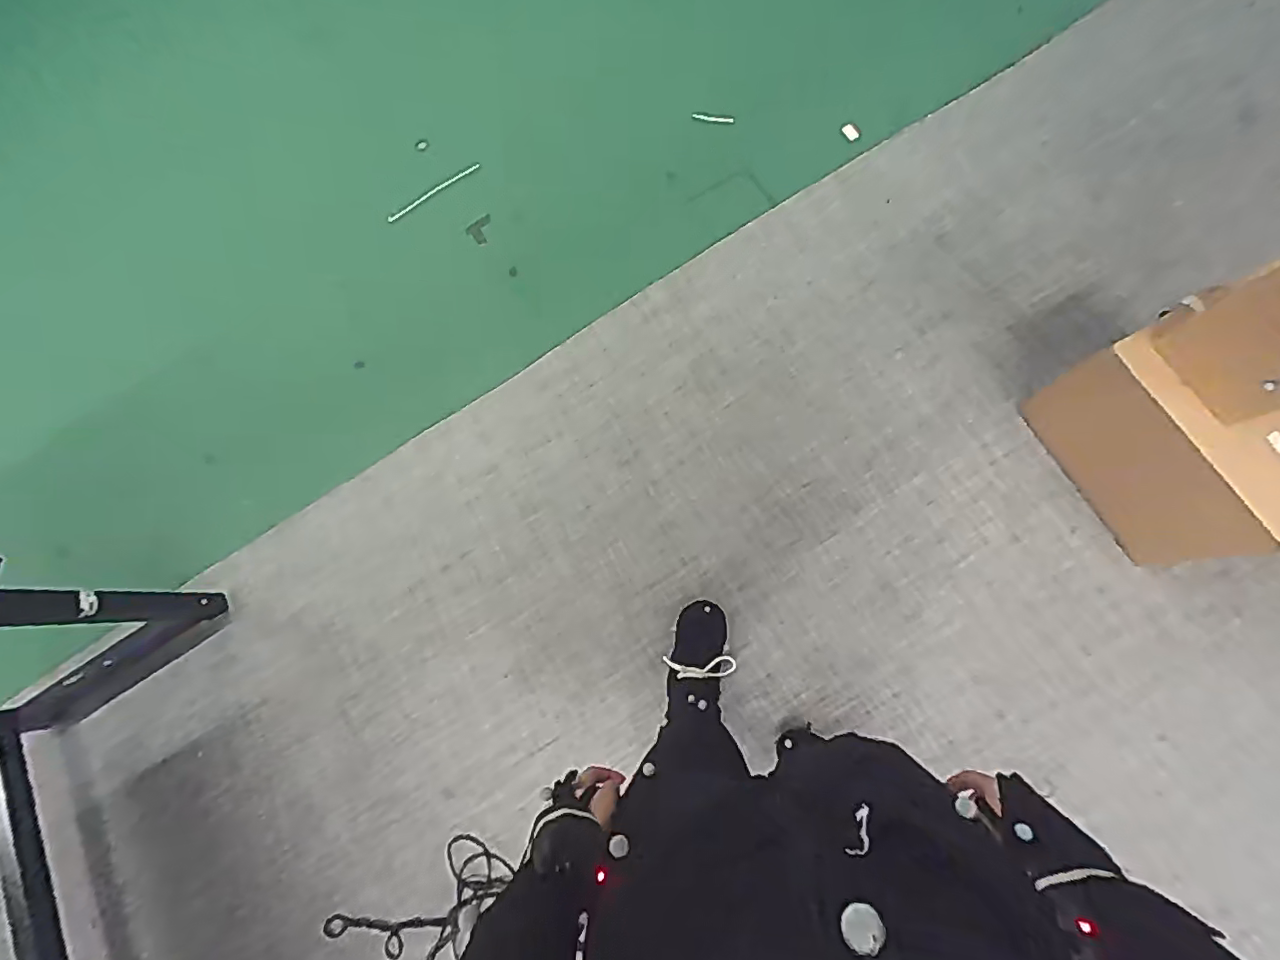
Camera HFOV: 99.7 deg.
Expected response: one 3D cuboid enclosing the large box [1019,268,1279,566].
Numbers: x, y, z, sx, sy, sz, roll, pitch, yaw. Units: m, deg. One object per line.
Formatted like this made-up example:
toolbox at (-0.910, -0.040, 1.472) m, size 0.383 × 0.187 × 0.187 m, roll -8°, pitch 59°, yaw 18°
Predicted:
large box at (1.040, -0.091, 1.008) m, size 0.320 × 0.320 × 0.408 m, roll -29°, pitch 75°, yaw 2°
